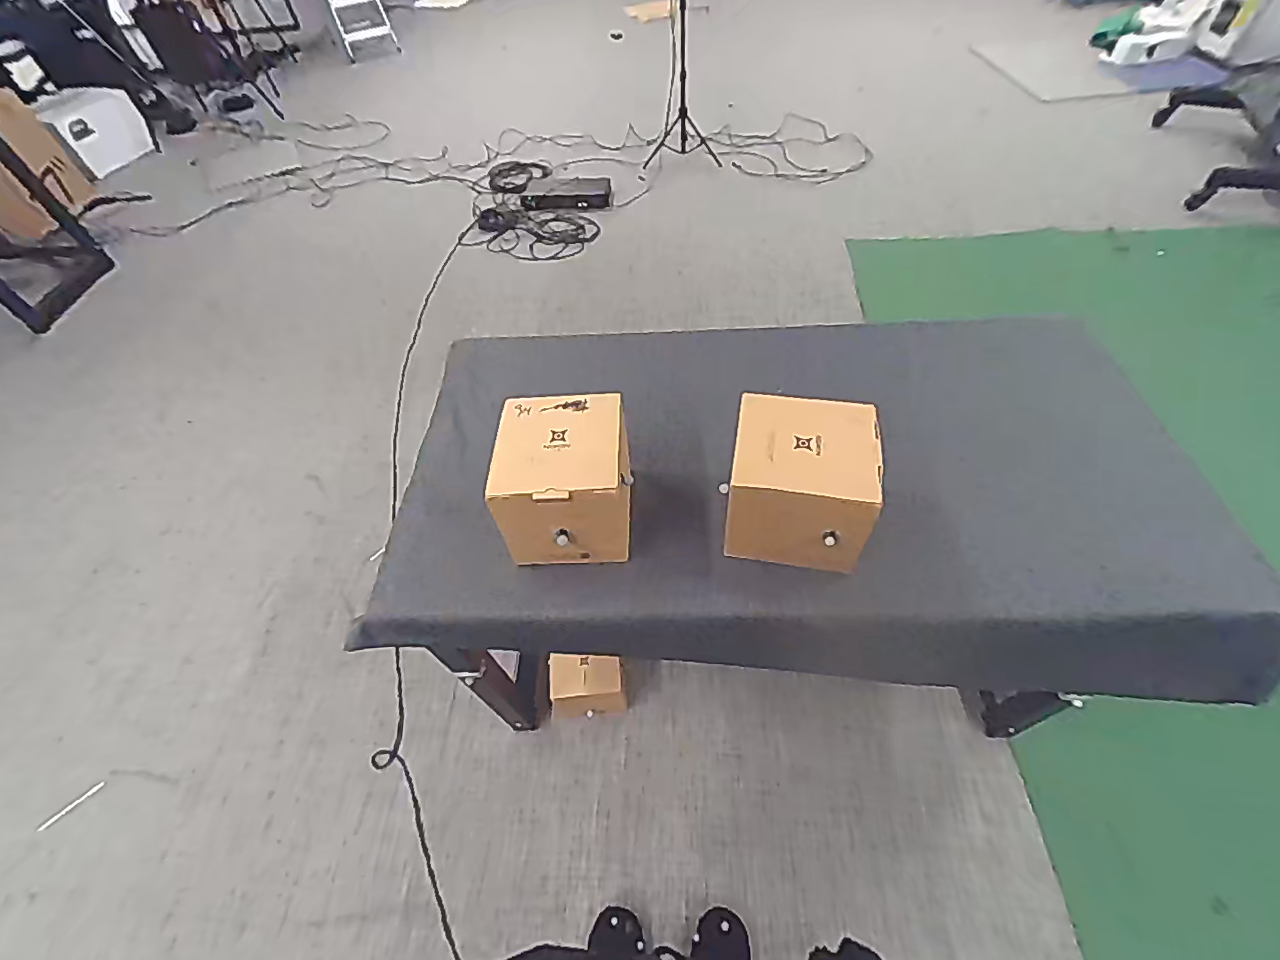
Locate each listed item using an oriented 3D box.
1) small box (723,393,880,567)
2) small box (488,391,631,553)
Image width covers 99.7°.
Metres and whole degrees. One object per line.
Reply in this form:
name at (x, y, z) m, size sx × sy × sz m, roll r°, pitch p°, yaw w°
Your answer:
small box at (0.214, 0.004, 0.747) m, size 0.179 × 0.176 × 0.168 m, roll 7°, pitch 53°, yaw 11°
small box at (-0.101, -0.005, 0.774) m, size 0.168 × 0.176 × 0.179 m, roll -2°, pitch 53°, yaw 3°
